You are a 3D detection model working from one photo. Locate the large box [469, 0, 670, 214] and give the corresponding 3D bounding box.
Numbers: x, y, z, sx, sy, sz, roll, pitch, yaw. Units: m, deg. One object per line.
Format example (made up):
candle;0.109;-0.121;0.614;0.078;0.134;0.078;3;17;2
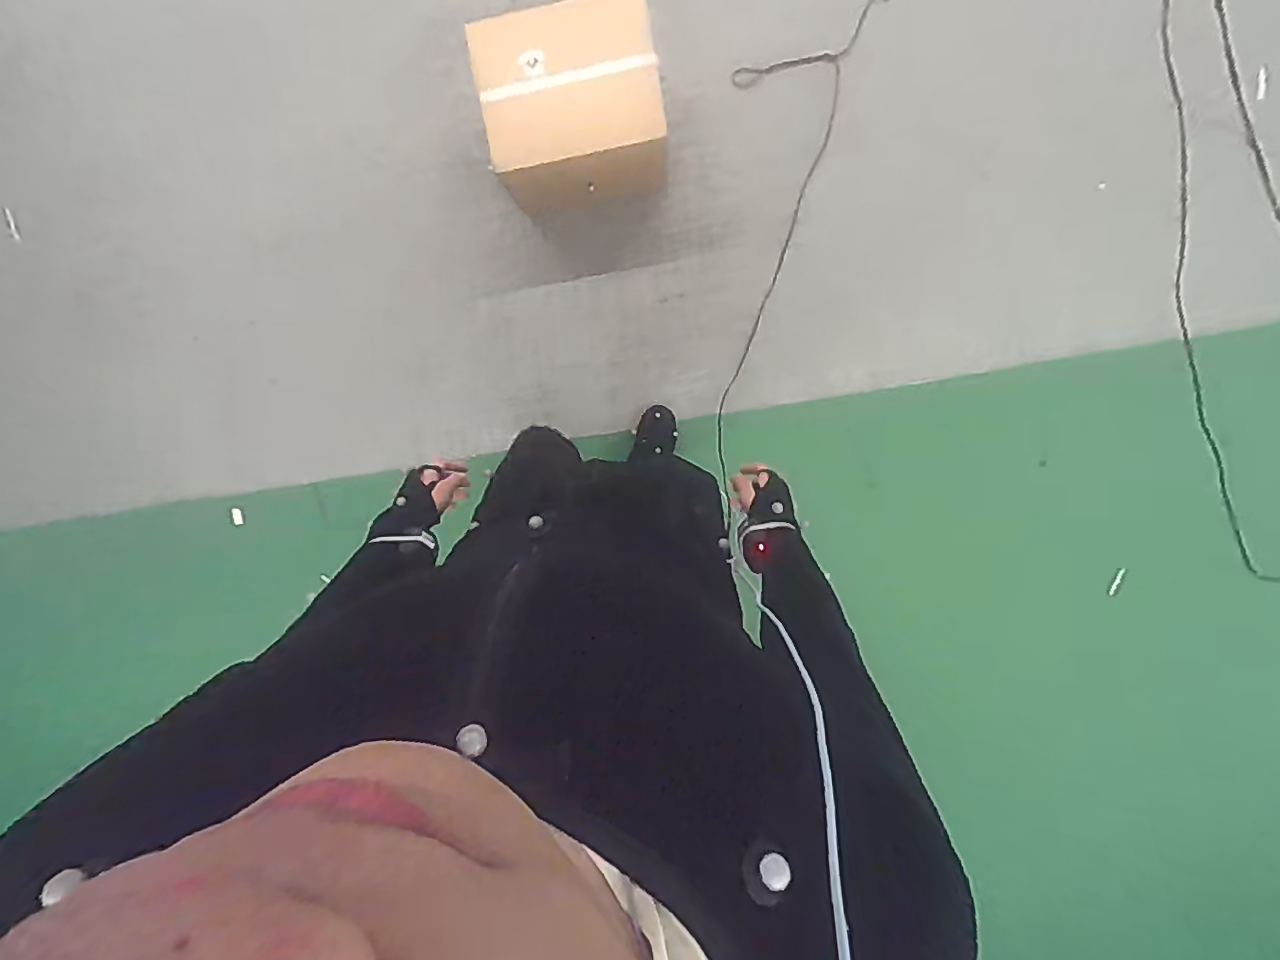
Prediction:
large box;-0.149;-0.908;1.350;0.408;0.320;0.320;-10;98;5
